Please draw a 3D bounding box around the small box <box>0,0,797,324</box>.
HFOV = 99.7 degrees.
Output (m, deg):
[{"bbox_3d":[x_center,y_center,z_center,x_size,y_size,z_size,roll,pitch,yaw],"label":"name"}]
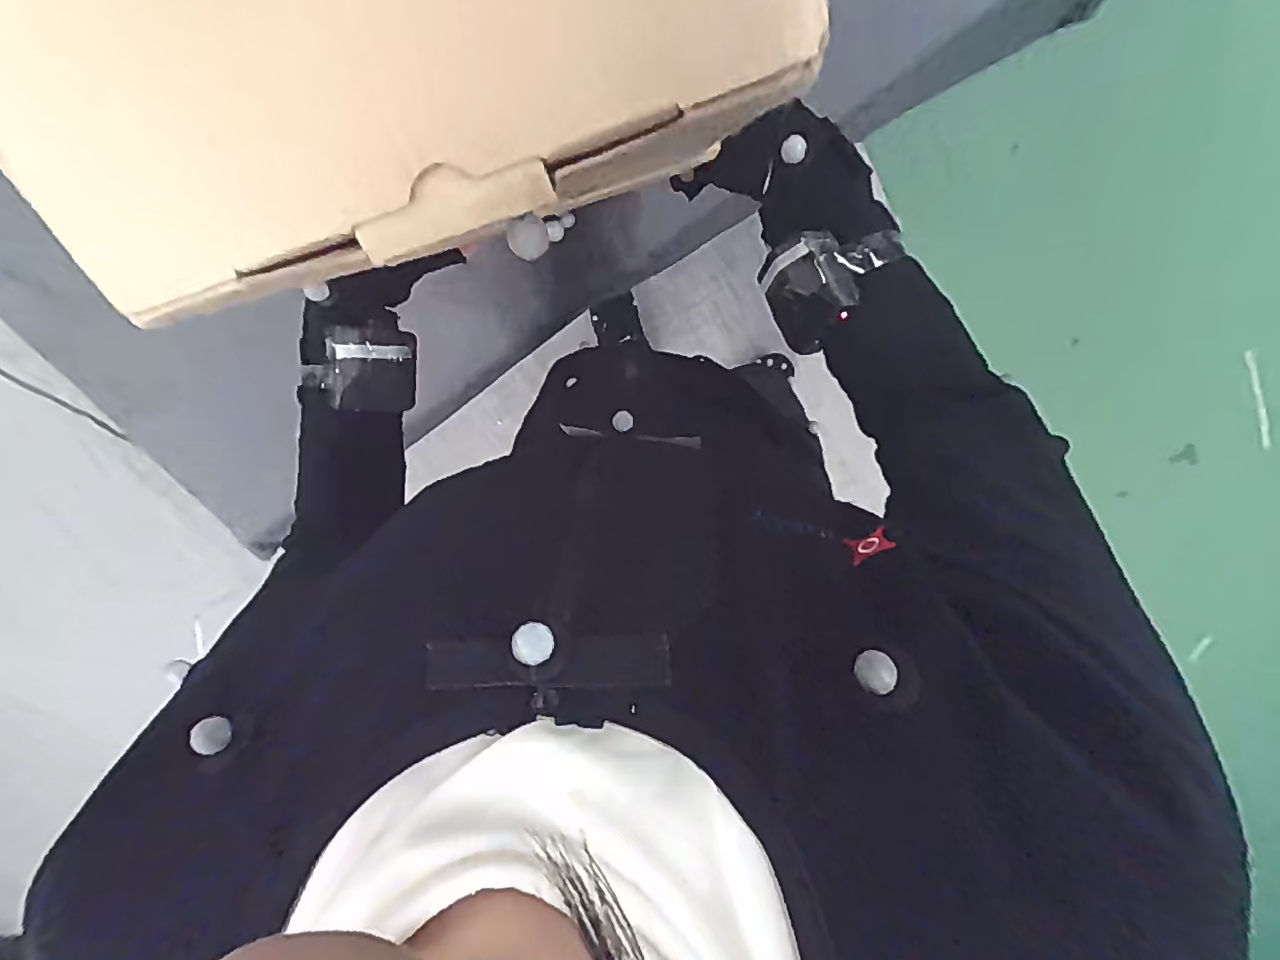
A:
[{"bbox_3d":[-0.071,-0.168,0.149,0.168,0.176,0.179,-16,117,7],"label":"small box"}]
